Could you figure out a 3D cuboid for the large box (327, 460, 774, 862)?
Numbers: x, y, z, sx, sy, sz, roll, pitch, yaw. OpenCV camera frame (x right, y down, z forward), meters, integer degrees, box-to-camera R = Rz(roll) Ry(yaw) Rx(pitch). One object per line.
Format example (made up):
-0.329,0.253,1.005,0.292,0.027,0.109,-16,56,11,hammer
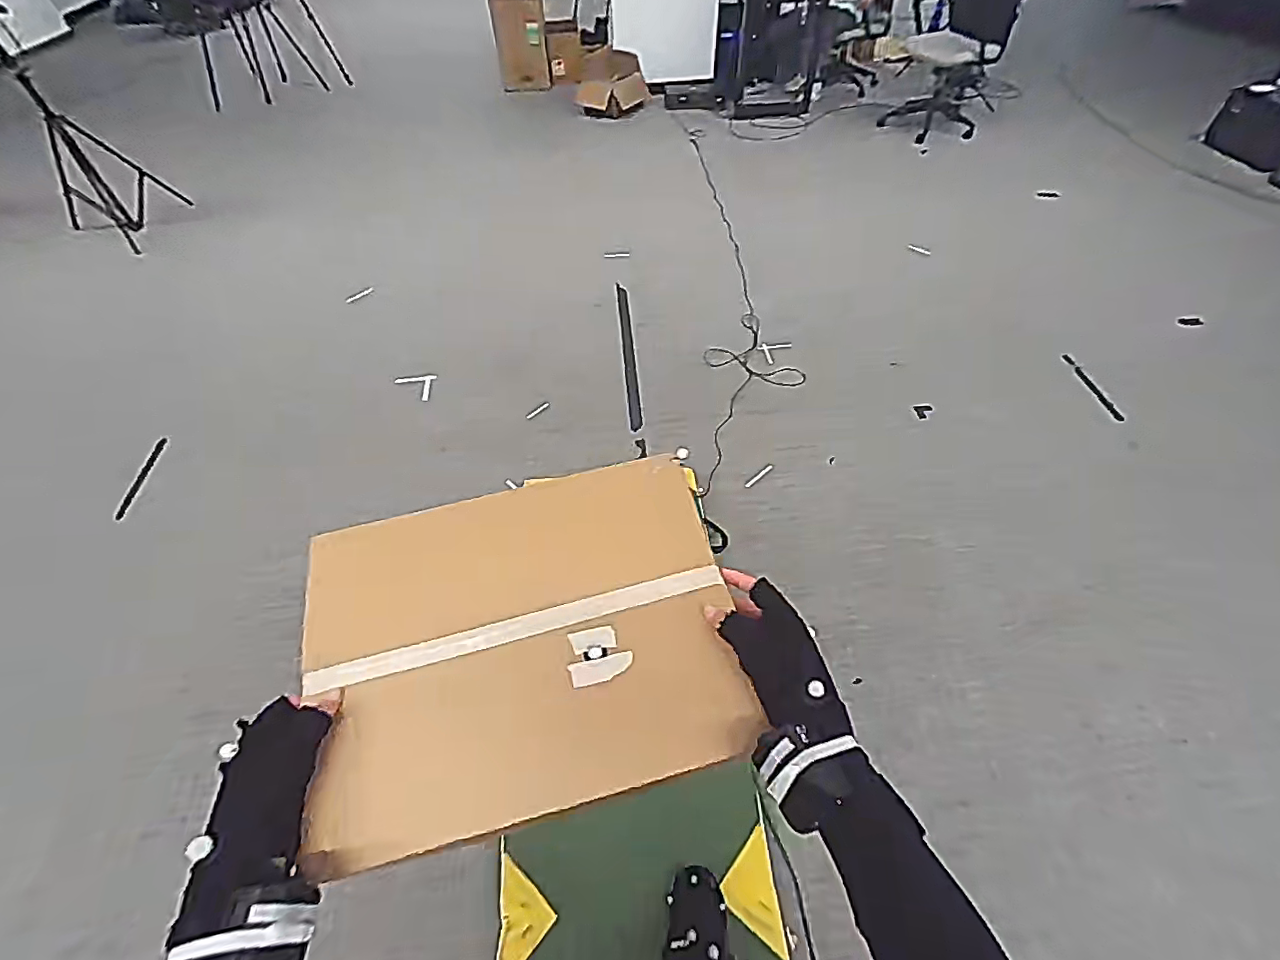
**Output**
-0.103,0.223,0.669,0.408,0.320,0.320,-12,60,-7,large box
